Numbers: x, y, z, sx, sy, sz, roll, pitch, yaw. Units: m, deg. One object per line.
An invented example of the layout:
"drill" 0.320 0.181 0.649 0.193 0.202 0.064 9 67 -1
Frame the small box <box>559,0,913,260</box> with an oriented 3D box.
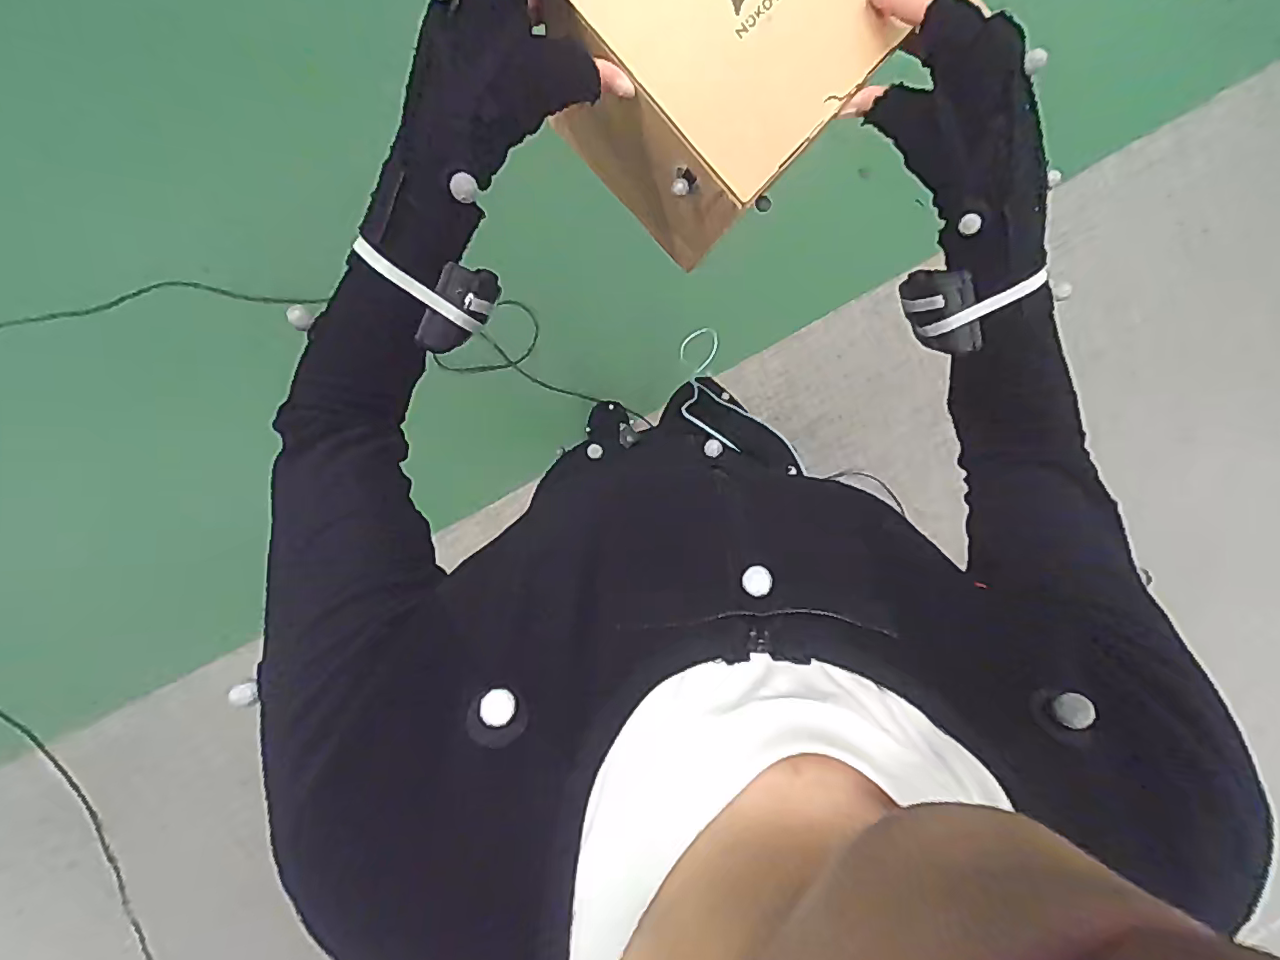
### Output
"small box" 0.050 -0.303 0.411 0.168 0.176 0.179 -45 101 -1
